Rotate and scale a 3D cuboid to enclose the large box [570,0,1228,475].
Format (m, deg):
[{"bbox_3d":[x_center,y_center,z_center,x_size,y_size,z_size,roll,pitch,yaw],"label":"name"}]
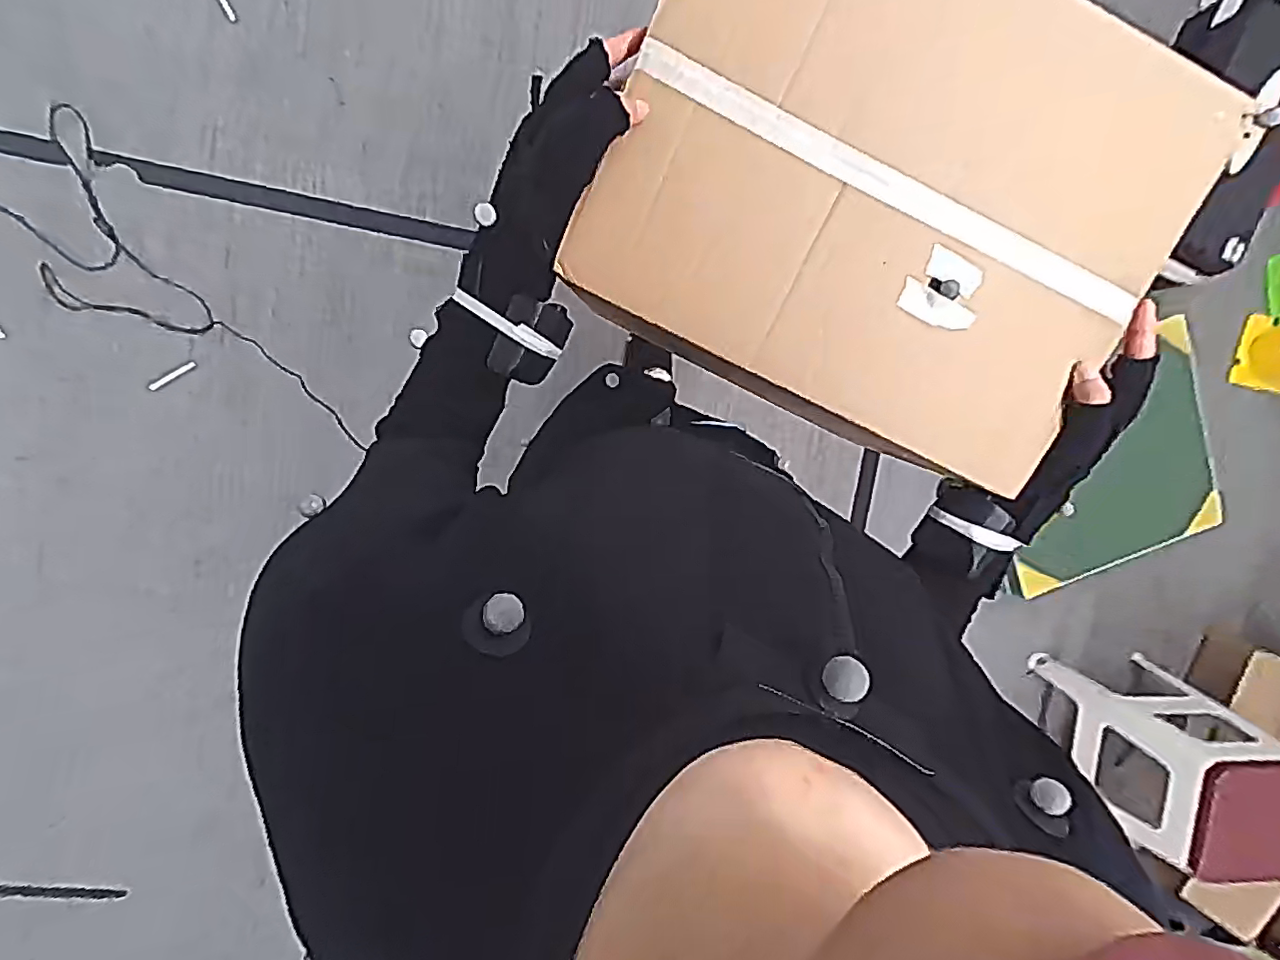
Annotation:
[{"bbox_3d":[0.184,-0.247,0.548,0.408,0.320,0.320,25,102,-5],"label":"large box"}]
